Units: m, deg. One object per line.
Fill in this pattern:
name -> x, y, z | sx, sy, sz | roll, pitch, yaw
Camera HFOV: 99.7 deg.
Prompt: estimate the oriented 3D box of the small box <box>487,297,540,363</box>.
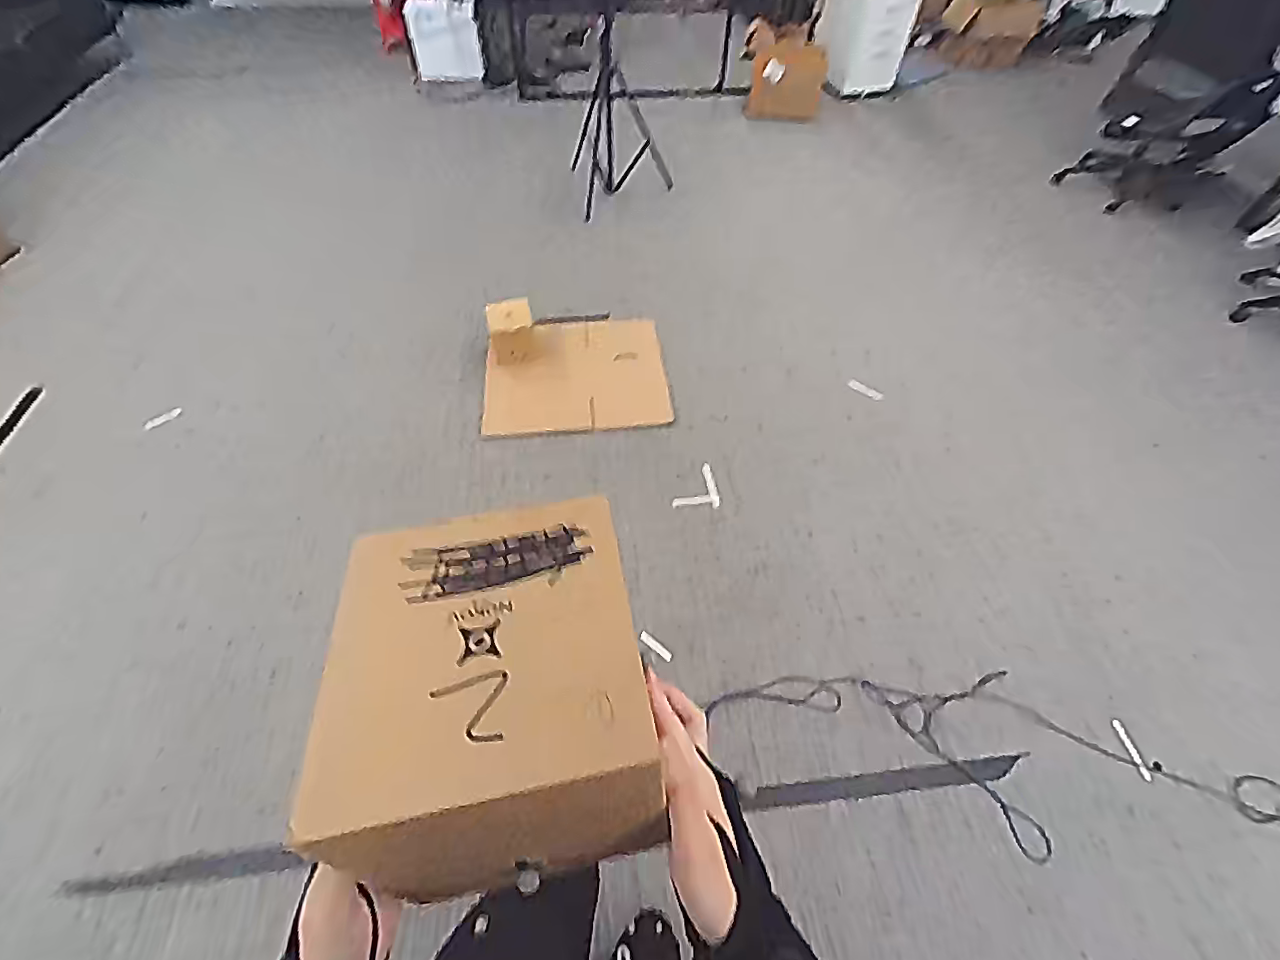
small box -> -0.495, -0.587, 2.126 | 0.168, 0.176, 0.179 | -14, 55, -10
